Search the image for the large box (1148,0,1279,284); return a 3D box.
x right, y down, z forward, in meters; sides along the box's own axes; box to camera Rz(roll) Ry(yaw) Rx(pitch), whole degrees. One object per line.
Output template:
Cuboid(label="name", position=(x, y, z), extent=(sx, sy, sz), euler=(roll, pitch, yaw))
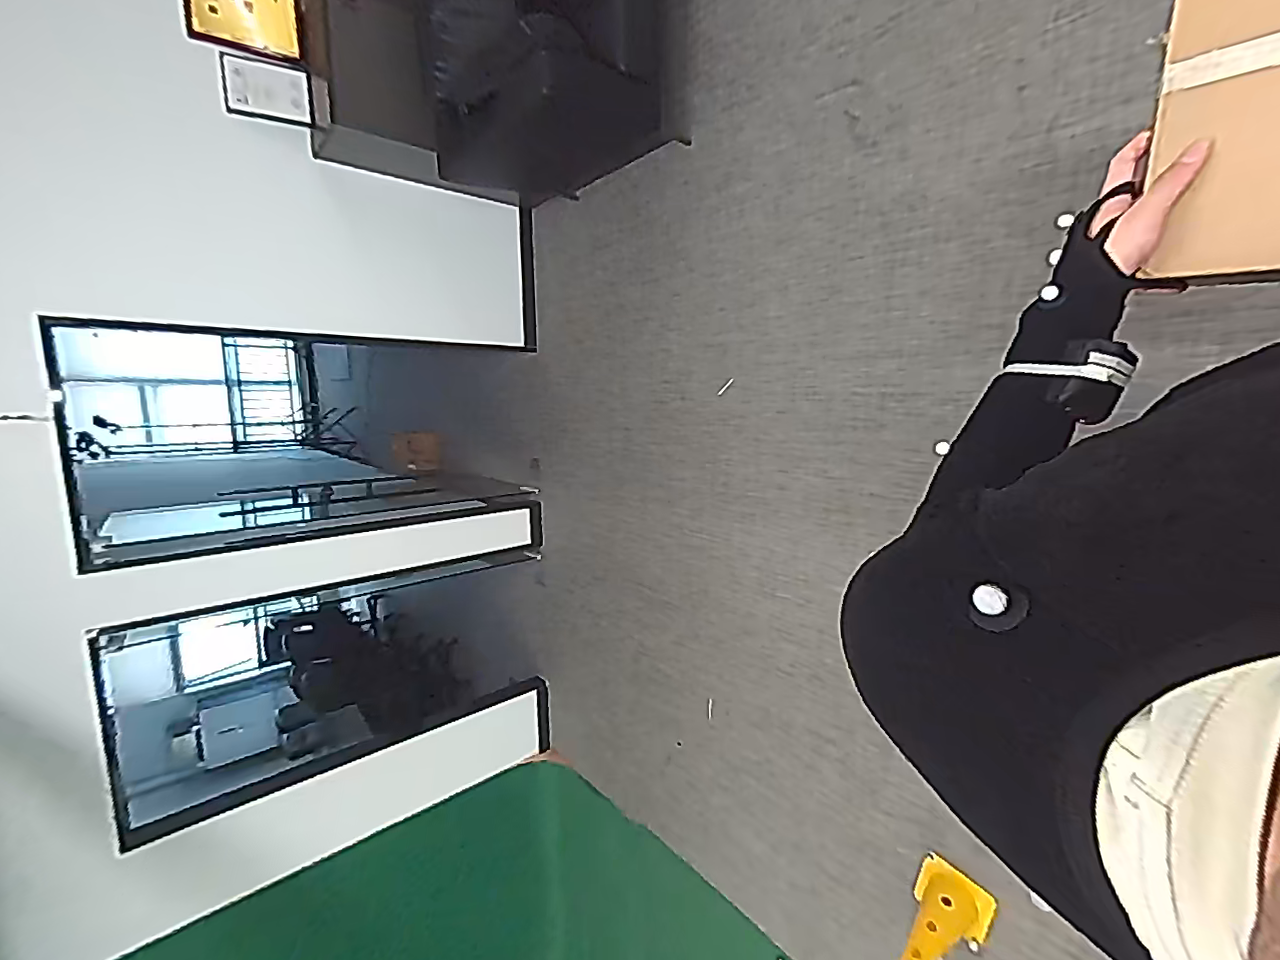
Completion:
Cuboid(label="large box", position=(0.687, -0.336, 0.402), extent=(0.408, 0.320, 0.320), euler=(12, 112, 47))
